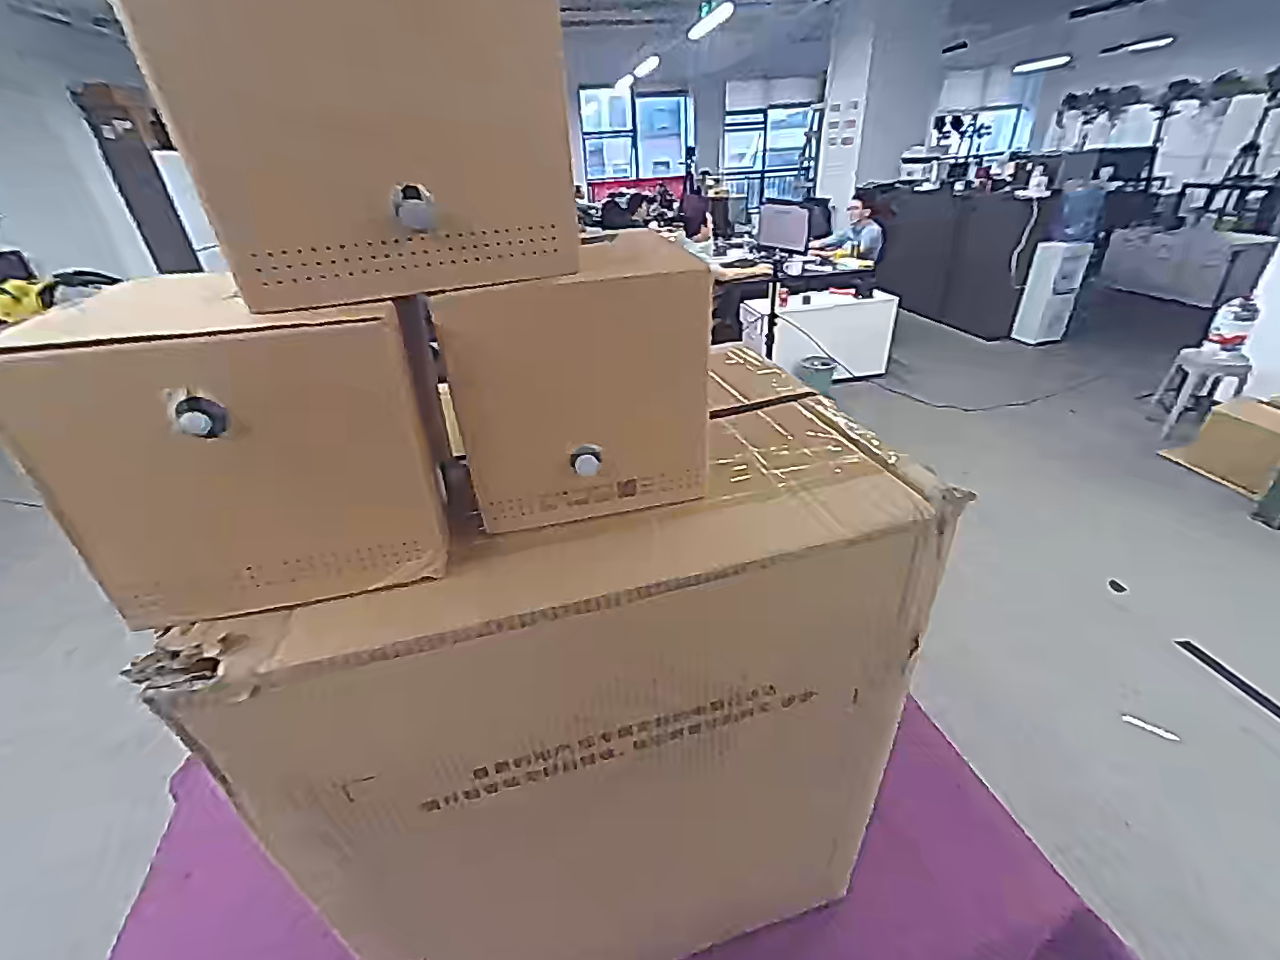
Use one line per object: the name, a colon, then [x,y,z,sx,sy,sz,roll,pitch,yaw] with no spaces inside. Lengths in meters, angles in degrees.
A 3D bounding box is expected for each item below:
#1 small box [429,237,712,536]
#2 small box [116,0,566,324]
small box: [-0.050,-0.081,0.420,0.168,0.176,0.179,-10,33,-9]
small box: [-0.148,-0.202,0.314,0.179,0.176,0.168,-15,34,-19]
